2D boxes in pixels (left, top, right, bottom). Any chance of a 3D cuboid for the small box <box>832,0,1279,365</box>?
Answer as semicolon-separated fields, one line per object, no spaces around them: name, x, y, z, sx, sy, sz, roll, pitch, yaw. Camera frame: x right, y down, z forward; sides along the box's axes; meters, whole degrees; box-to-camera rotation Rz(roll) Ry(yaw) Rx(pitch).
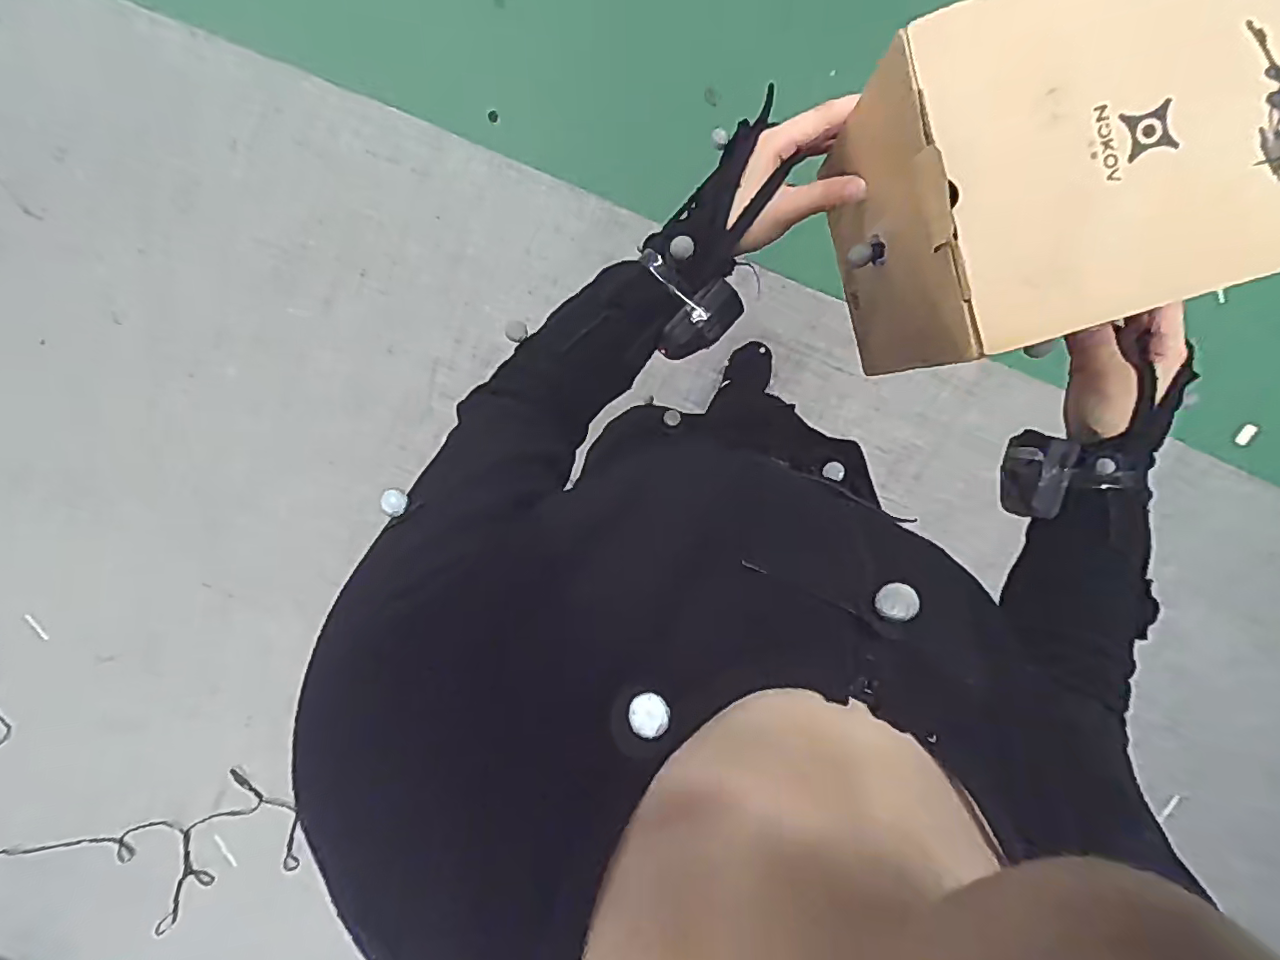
small box;0.234;-0.177;0.339;0.179;0.176;0.168;-16;97;7
